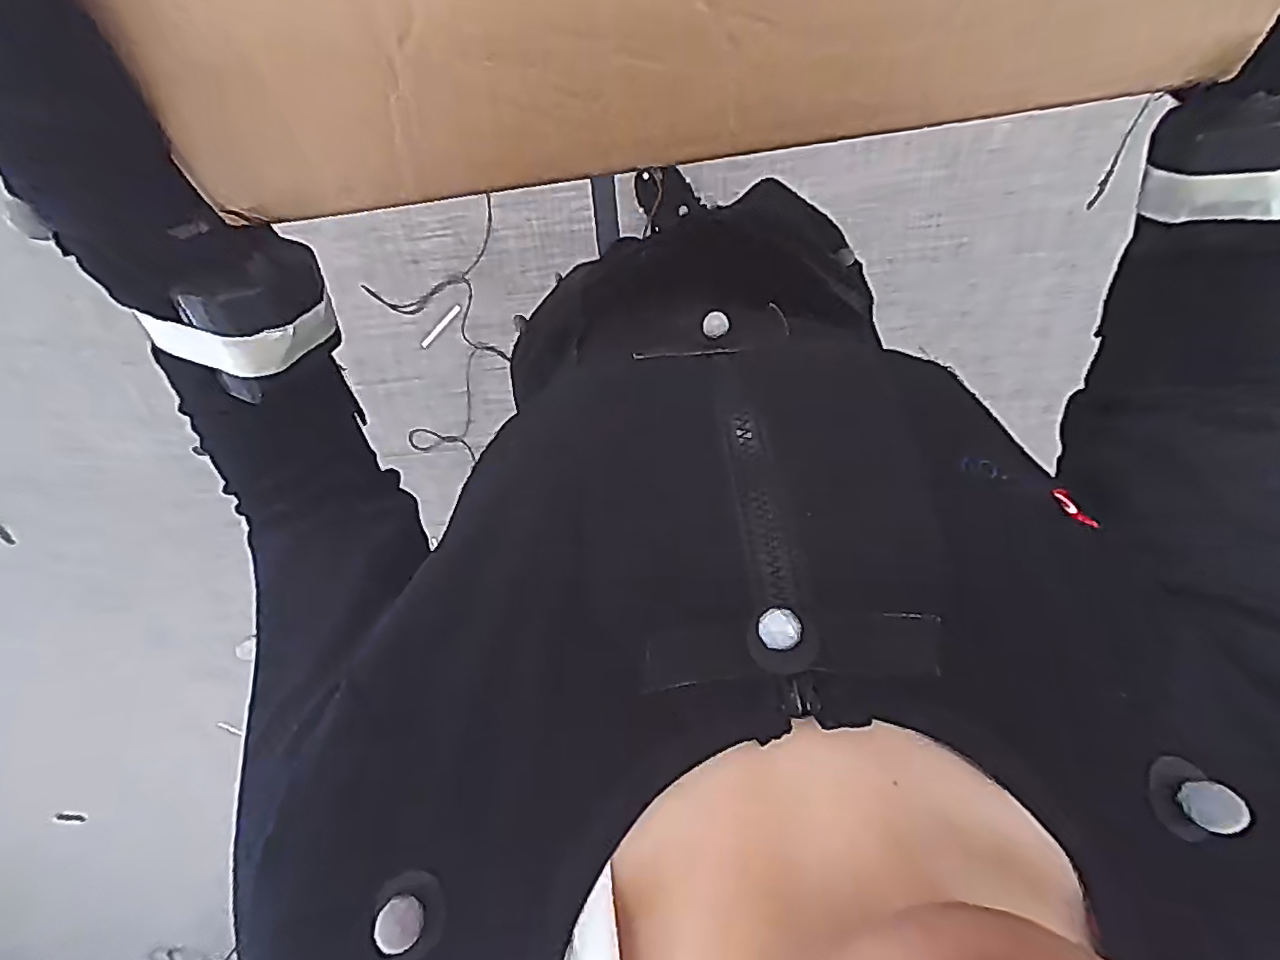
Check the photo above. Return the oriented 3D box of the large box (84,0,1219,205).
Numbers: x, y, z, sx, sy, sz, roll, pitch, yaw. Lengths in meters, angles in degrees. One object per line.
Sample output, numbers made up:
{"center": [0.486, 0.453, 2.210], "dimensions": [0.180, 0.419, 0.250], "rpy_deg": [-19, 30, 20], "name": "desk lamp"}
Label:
{"center": [-0.004, -0.351, 0.184], "dimensions": [0.408, 0.320, 0.320], "rpy_deg": [-7, 144, 2], "name": "large box"}
